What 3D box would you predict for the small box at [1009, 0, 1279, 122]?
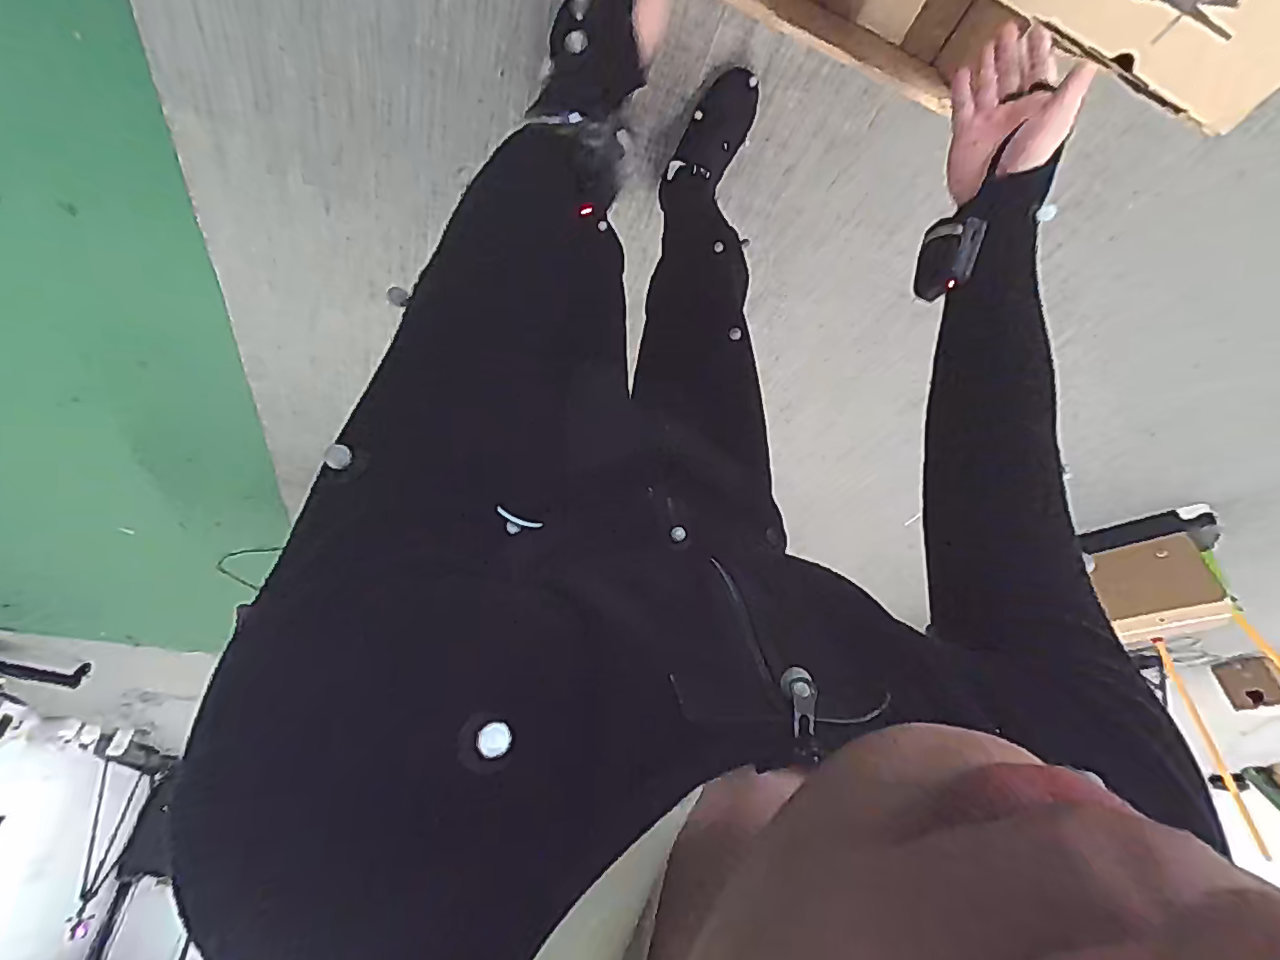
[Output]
[{"bbox_3d":[0.261,-0.318,0.246,0.168,0.176,0.179,13,142,-17],"label":"small box"}]
